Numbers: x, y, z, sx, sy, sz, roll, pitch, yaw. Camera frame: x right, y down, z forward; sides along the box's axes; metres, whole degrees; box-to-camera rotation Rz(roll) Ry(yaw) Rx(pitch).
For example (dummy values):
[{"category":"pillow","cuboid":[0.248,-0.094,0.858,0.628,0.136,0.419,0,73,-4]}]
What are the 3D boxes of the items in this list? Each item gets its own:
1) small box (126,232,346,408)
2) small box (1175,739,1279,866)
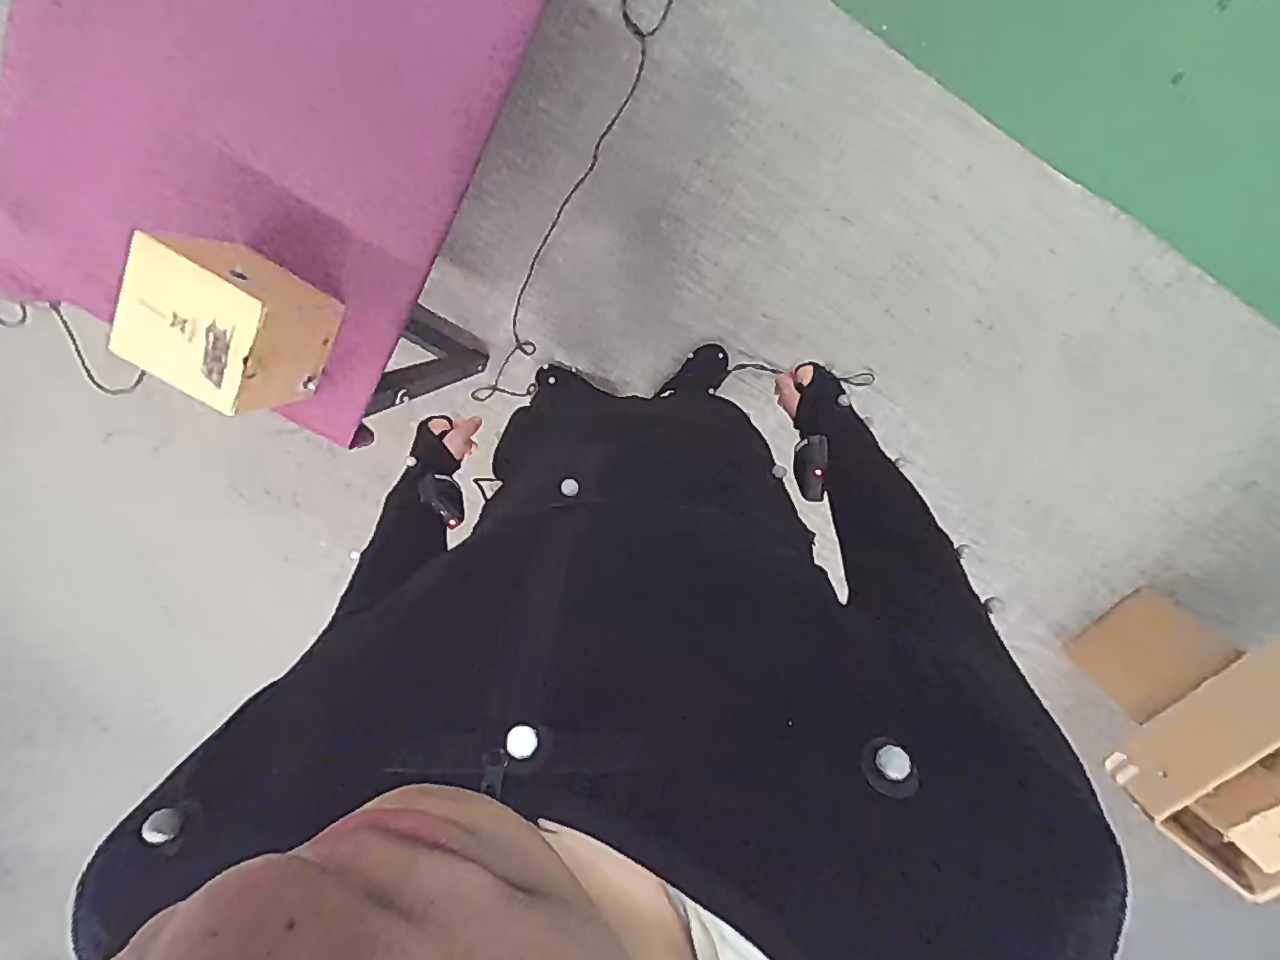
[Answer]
[{"category":"small box","cuboid":[-0.568,-0.230,0.782,0.179,0.176,0.168,31,109,-4]},{"category":"small box","cuboid":[1.447,0.751,1.280,0.179,0.176,0.168,42,109,-9]}]
